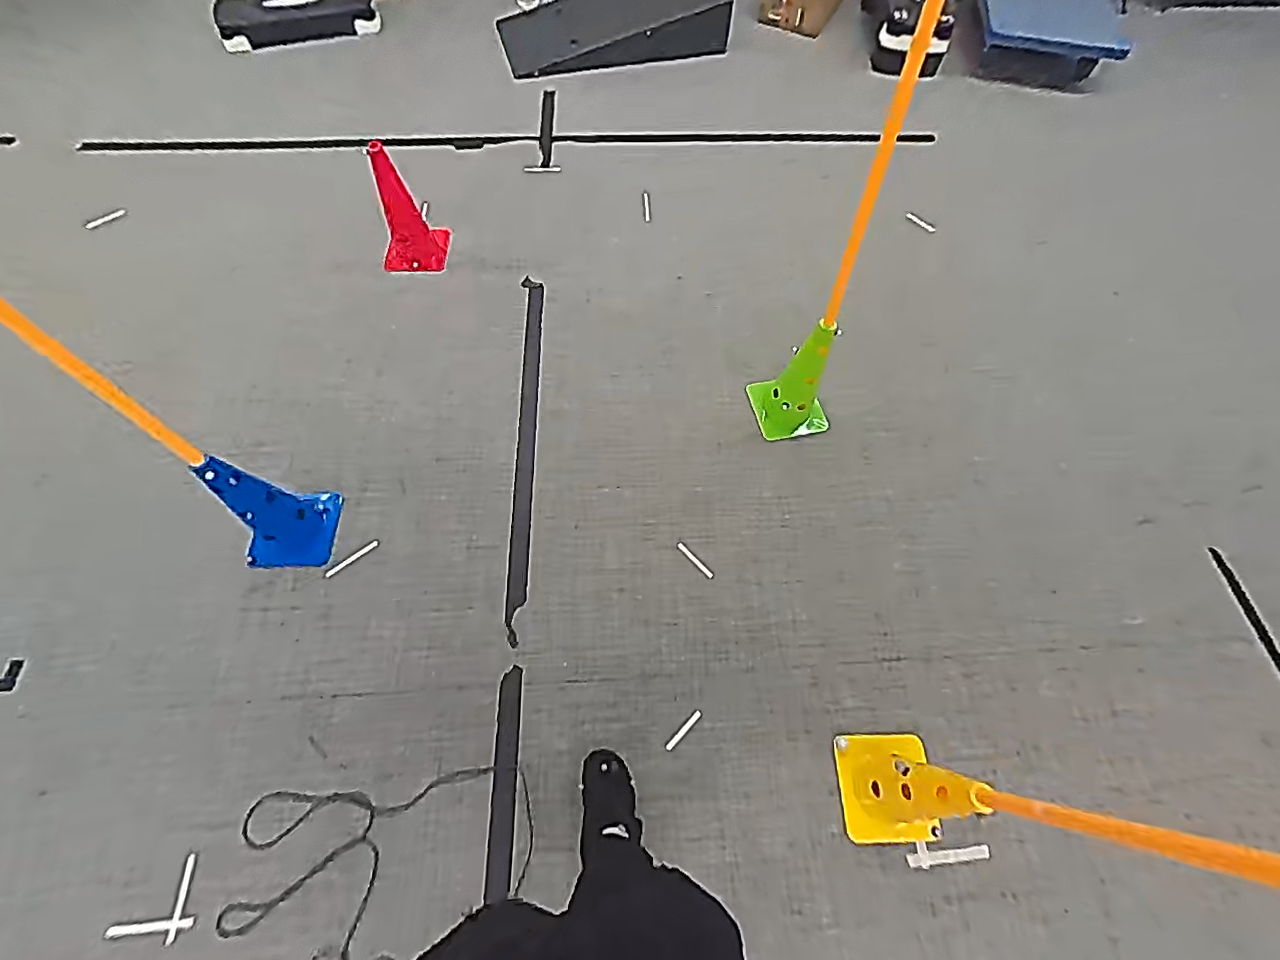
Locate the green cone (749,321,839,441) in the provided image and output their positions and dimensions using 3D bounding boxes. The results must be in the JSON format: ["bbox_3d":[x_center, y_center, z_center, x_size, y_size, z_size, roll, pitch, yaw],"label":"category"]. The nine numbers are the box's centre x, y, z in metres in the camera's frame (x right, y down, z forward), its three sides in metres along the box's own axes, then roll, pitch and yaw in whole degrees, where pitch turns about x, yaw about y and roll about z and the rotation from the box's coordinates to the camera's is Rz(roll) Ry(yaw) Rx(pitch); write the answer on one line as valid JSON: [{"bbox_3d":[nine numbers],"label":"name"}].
[{"bbox_3d":[0.439,-0.286,1.432,0.200,0.368,0.202,-11,65,-7],"label":"green cone"}]

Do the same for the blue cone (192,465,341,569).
[{"bbox_3d":[-0.865,0.060,1.229,0.193,0.380,0.192,1,63,-1],"label":"blue cone"}]
